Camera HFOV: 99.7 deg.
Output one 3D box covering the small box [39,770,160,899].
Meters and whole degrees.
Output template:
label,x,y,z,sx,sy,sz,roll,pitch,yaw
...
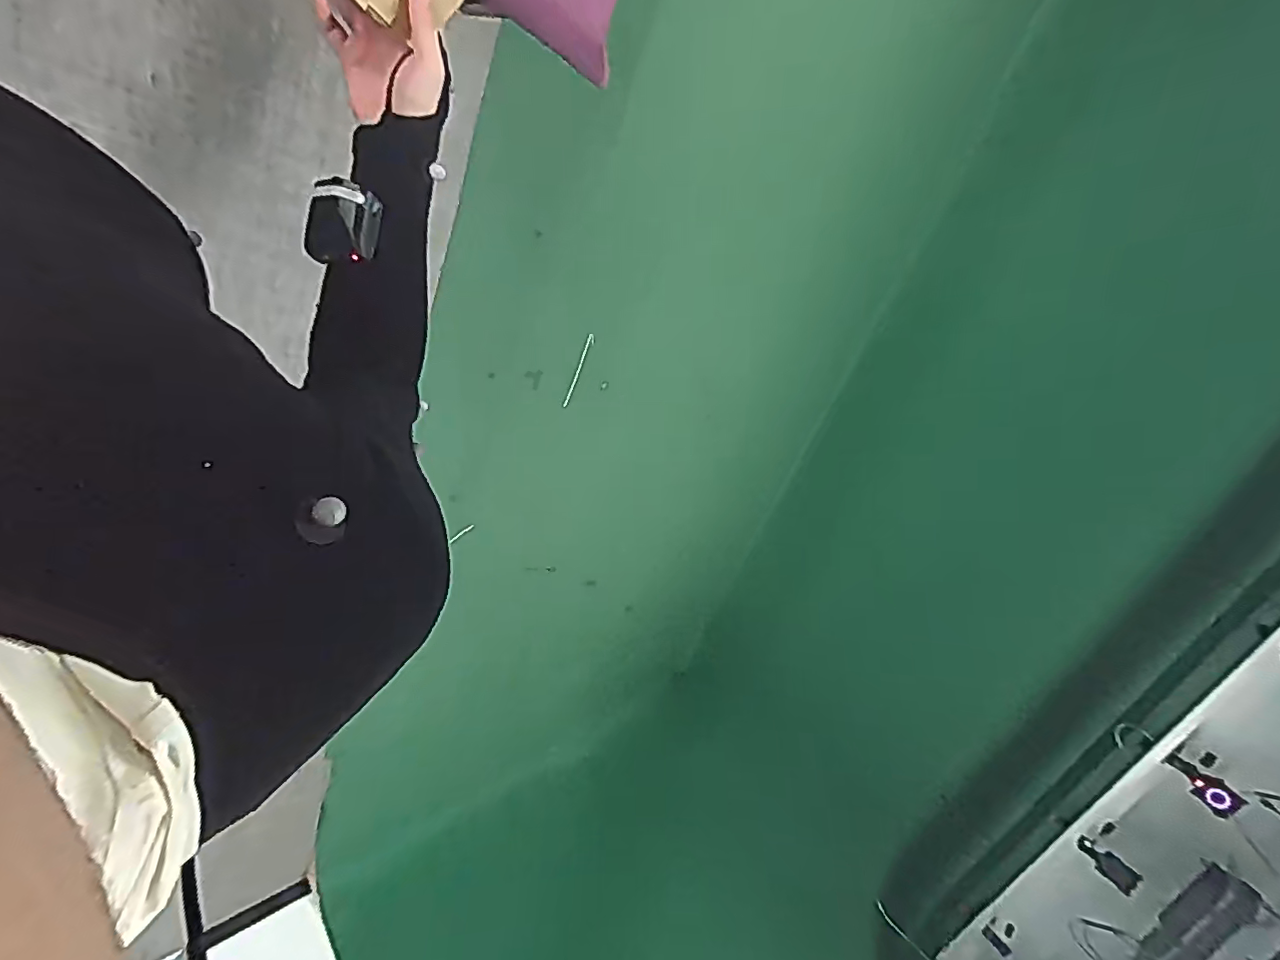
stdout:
label,x,y,z,sx,sy,sz,roll,pitch,yaw
small box,-1.328,0.855,1.328,0.179,0.176,0.168,8,115,-54
